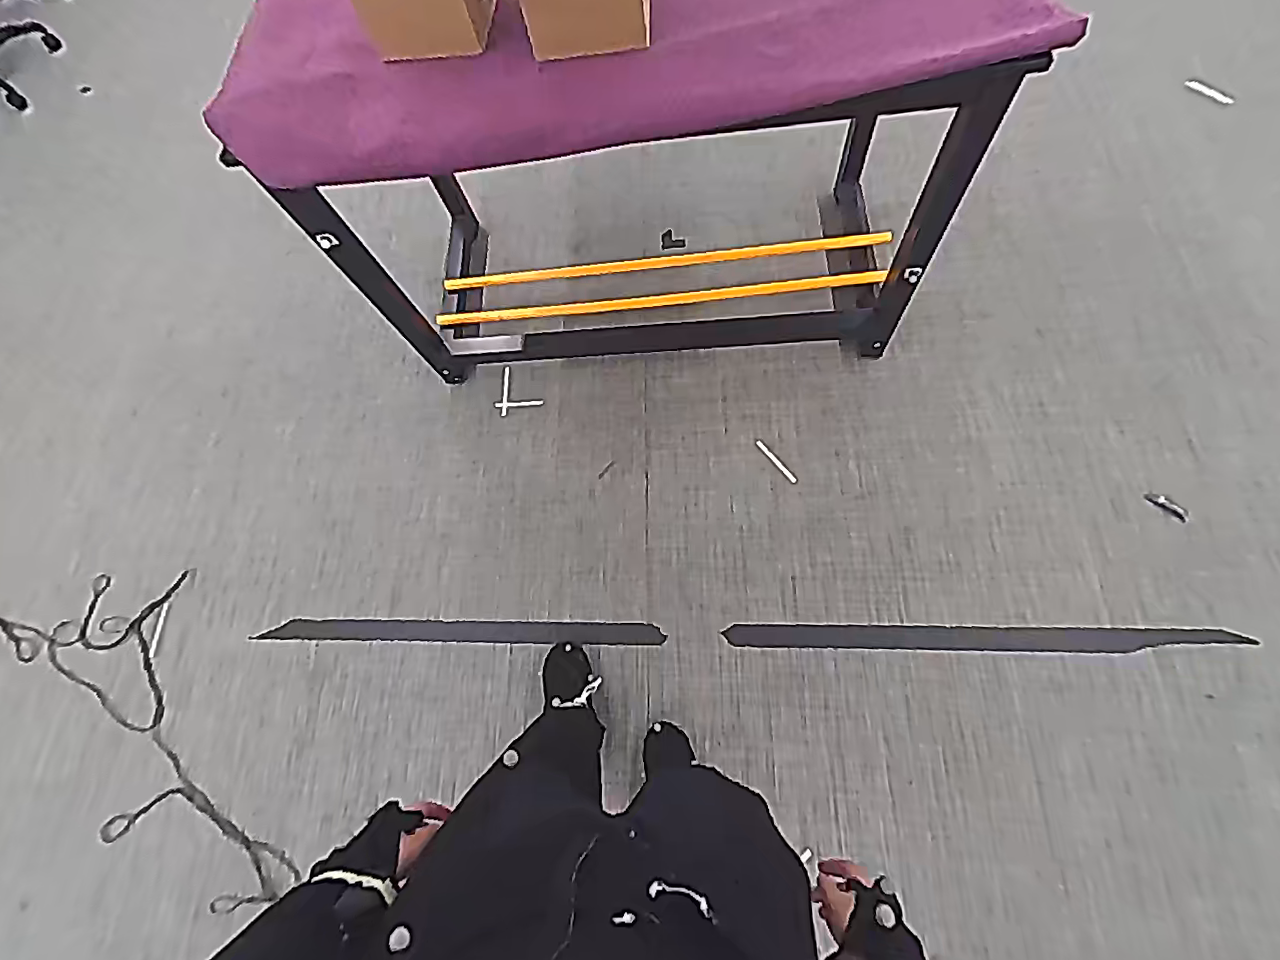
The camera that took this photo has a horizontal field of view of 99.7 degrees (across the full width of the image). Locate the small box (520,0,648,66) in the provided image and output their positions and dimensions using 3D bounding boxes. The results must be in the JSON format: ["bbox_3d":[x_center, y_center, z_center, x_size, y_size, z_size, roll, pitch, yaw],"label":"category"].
[{"bbox_3d":[-0.080,-0.743,0.780,0.179,0.176,0.168,-2,69,7],"label":"small box"}]
